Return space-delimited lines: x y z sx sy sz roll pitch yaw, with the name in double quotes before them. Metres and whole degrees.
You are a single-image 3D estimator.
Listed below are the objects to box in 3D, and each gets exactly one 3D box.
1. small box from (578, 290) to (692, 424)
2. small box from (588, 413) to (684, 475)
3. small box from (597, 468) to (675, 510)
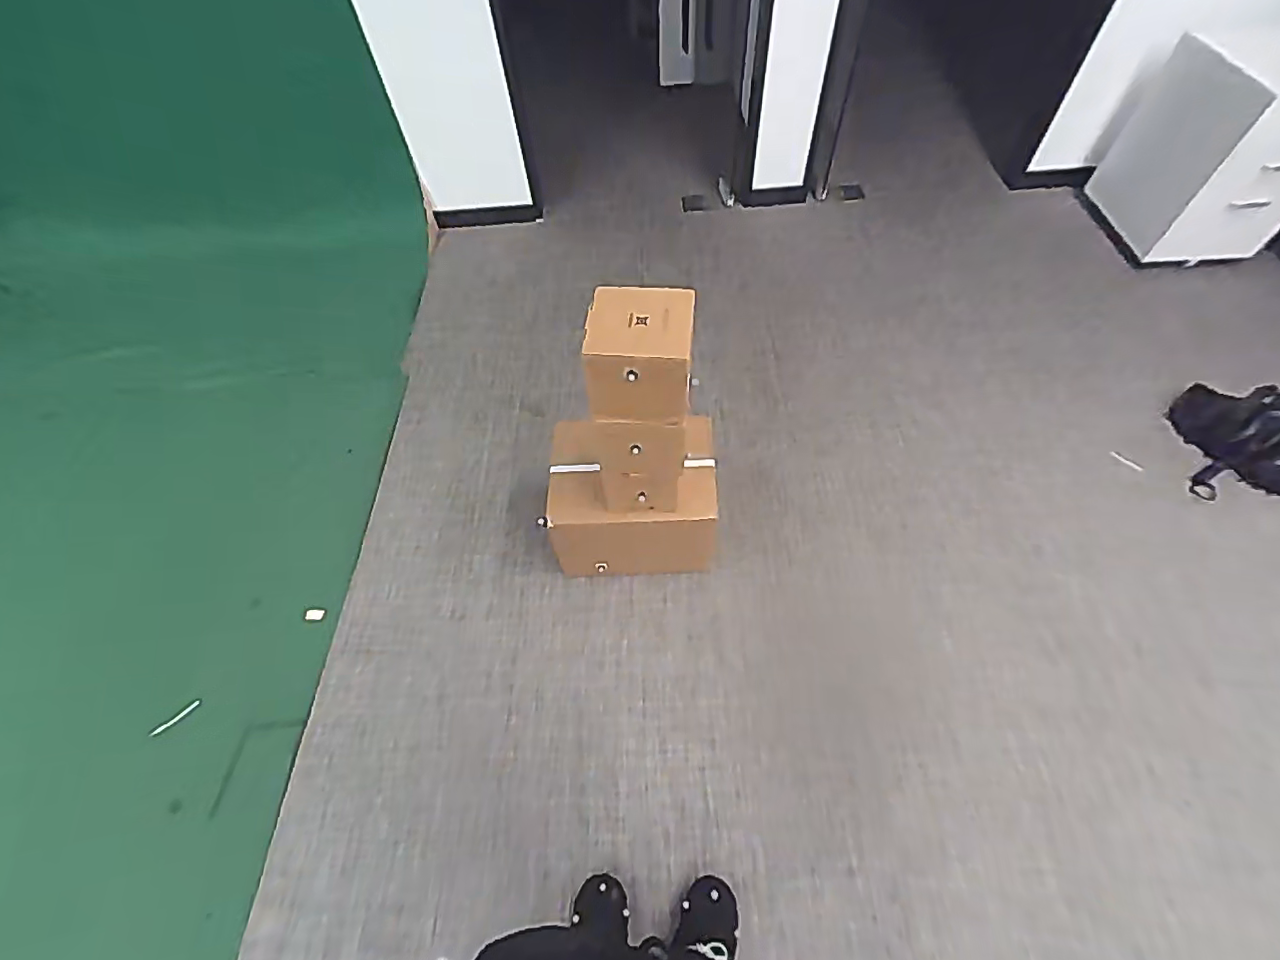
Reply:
"small box" -0.002 -0.215 0.964 0.179 0.176 0.168 5 59 4
"small box" 0.001 -0.122 1.096 0.179 0.176 0.168 2 58 5
"small box" -0.002 -0.041 1.240 0.168 0.176 0.179 0 58 3
